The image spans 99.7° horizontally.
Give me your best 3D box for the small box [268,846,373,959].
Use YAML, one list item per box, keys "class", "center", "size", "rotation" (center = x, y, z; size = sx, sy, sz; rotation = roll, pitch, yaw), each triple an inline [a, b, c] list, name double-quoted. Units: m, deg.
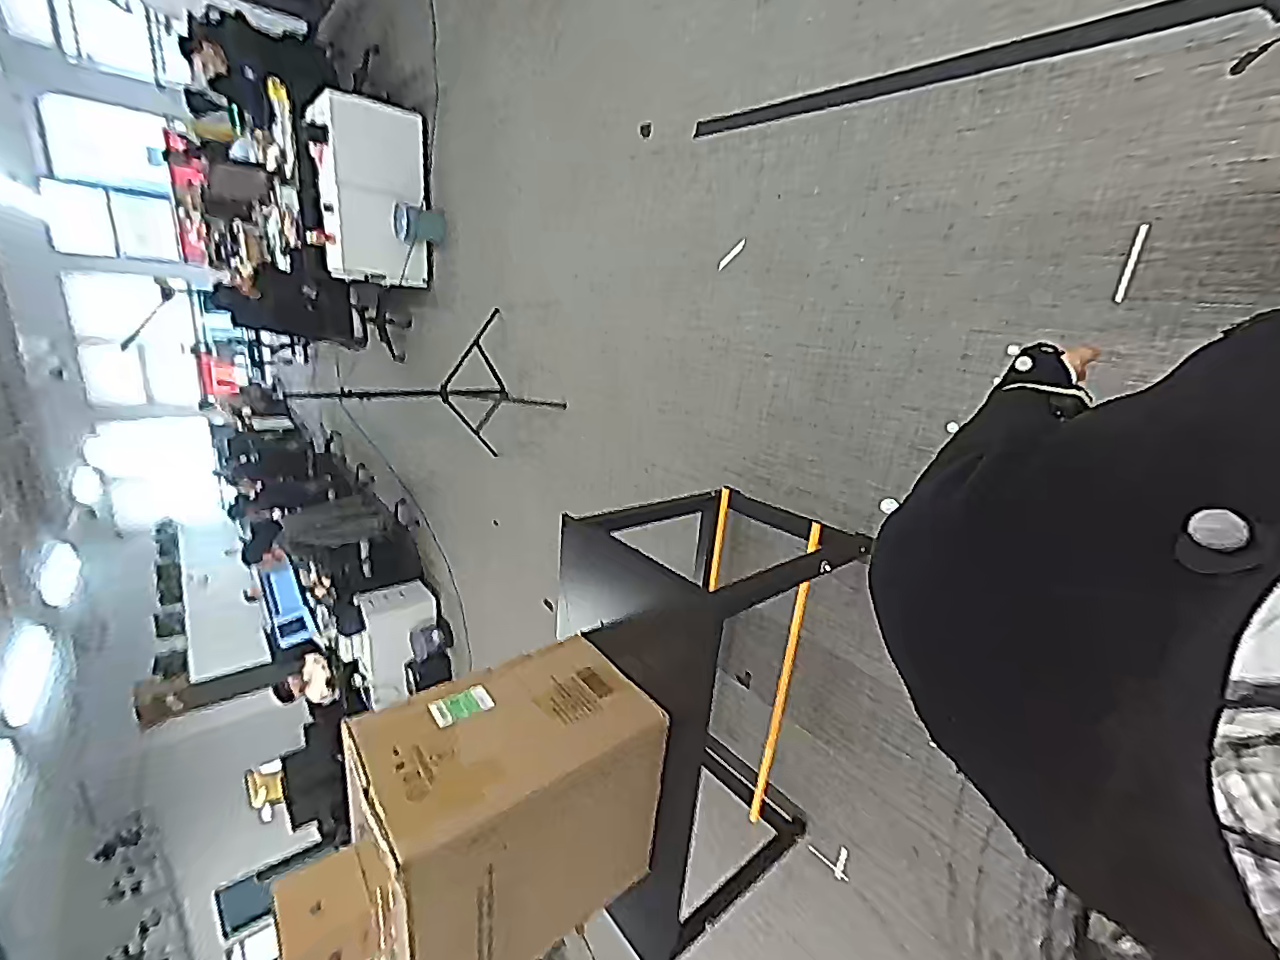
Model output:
- class: "small box"
  center: [-0.690, 0.957, 1.177]
  size: [0.179, 0.176, 0.168]
  rotation: [28, 117, 46]
